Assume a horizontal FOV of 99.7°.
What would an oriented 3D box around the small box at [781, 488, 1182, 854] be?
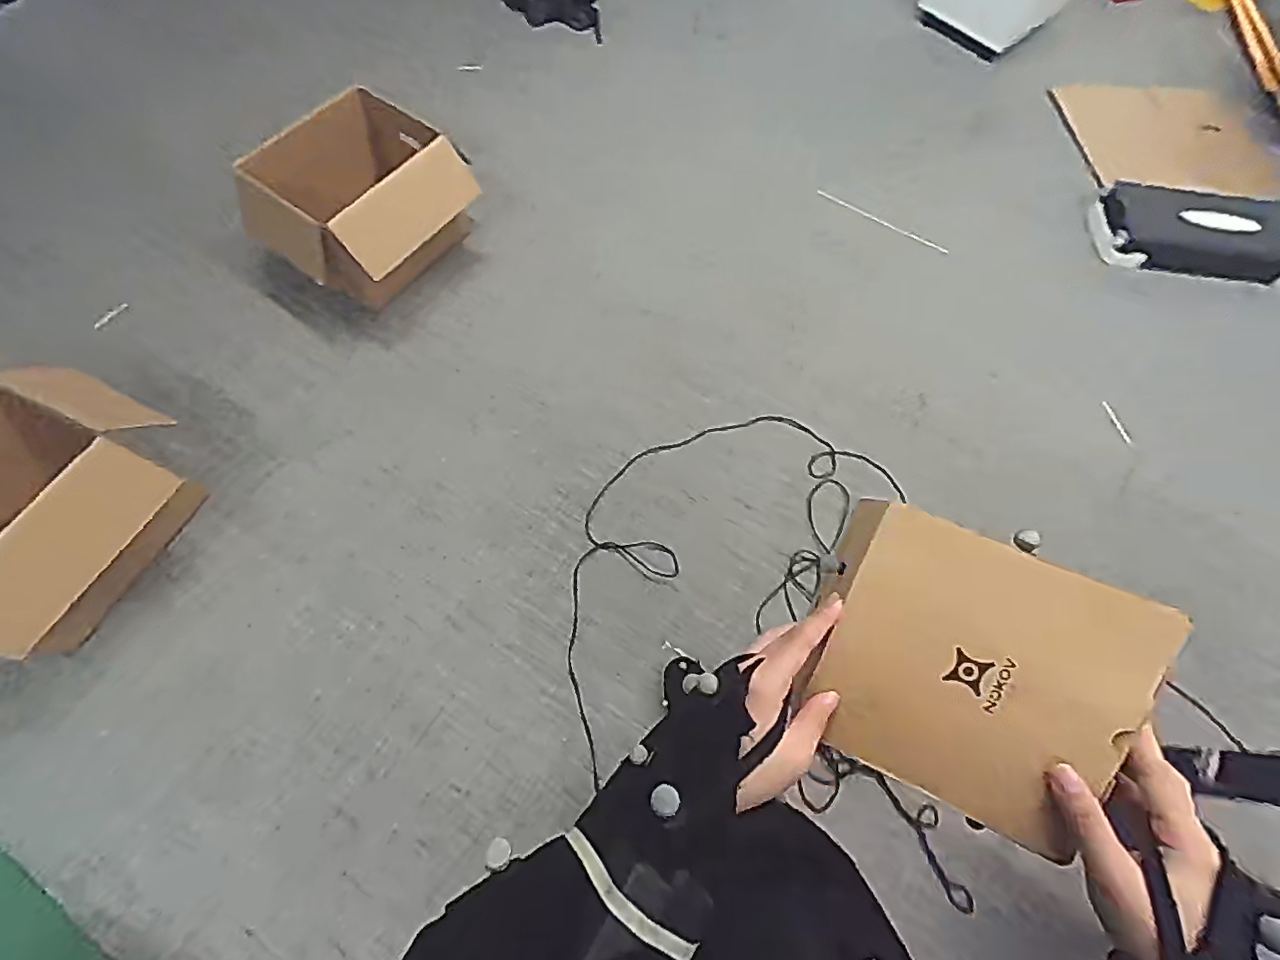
[{"bbox_3d":[0.219,0.116,0.407,0.179,0.176,0.168,23,94,13],"label":"small box"}]
